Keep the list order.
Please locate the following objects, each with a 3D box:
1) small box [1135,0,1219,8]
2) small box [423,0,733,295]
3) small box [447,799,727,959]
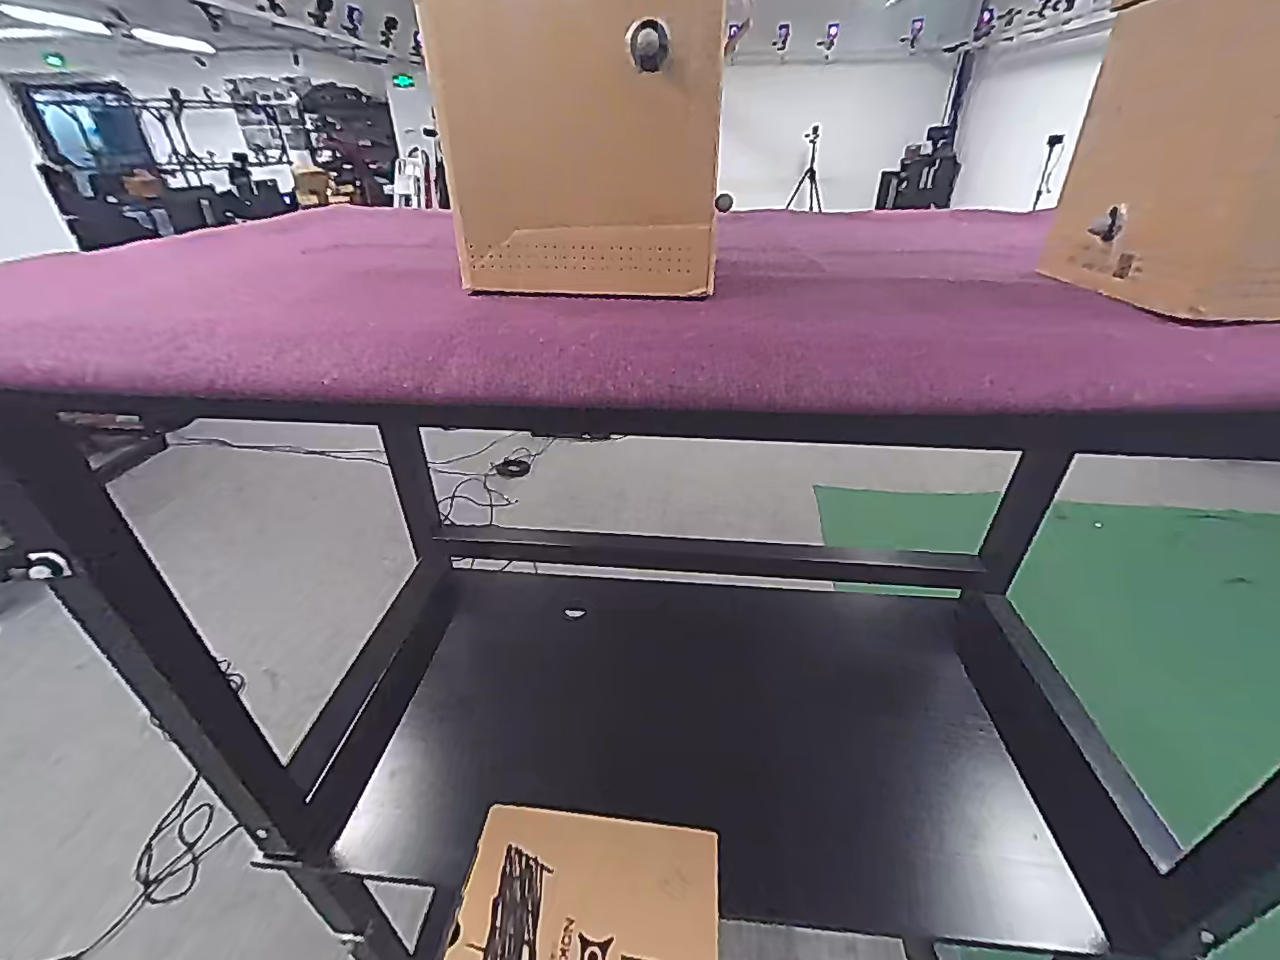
[{"bbox_3d":[0.384,-0.340,0.236,0.168,0.176,0.179,2,31,7],"label":"small box"},{"bbox_3d":[-0.027,-0.237,0.394,0.179,0.176,0.168,4,32,6],"label":"small box"},{"bbox_3d":[-0.033,0.363,0.384,0.179,0.176,0.168,5,32,5],"label":"small box"}]
